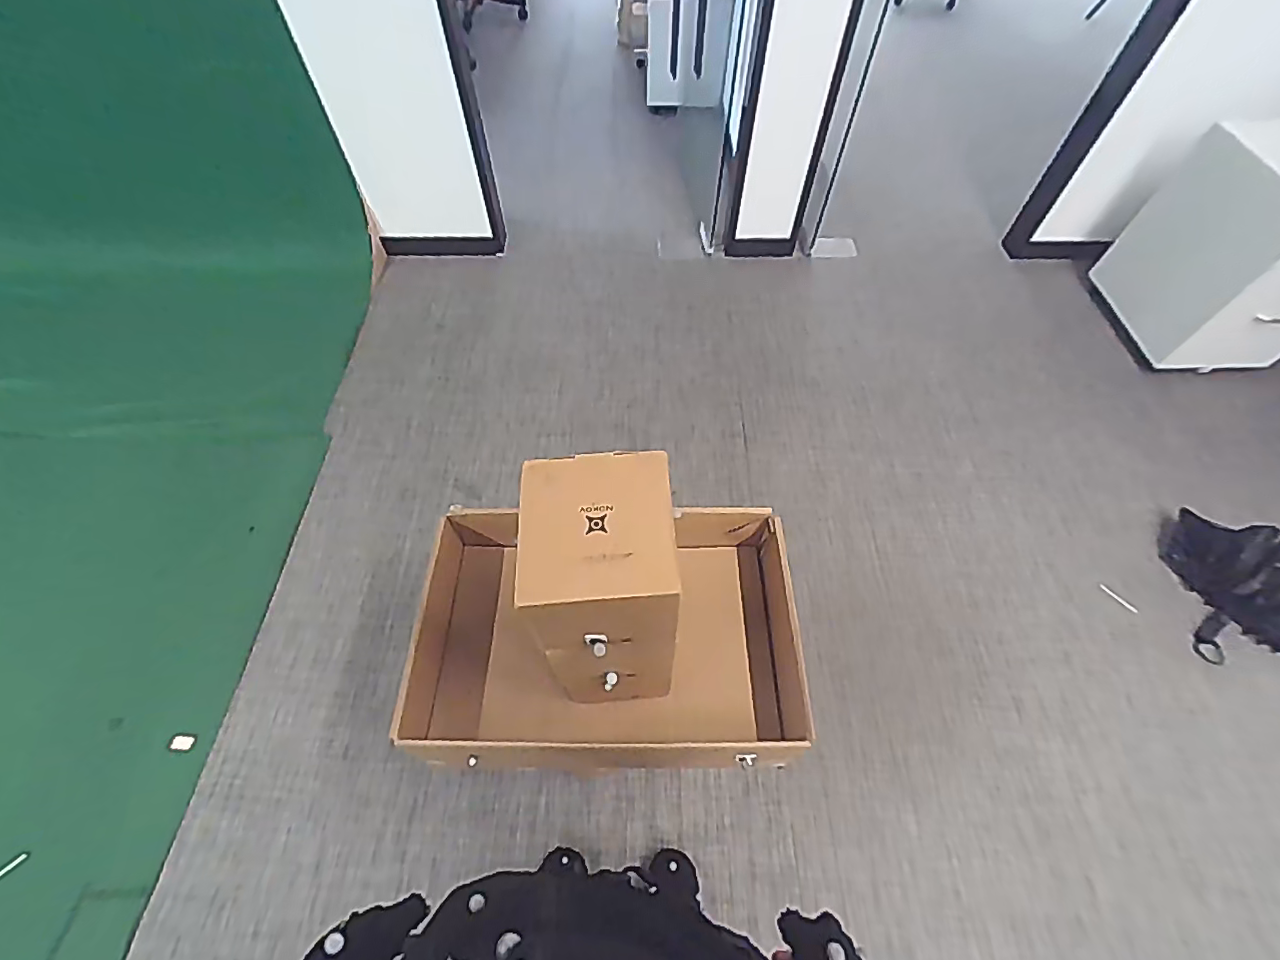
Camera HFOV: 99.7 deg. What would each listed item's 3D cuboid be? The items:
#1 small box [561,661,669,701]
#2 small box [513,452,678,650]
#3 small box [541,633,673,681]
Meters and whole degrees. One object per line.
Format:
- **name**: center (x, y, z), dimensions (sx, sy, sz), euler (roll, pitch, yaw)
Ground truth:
- **small box**: center (-0.042, 0.261, 0.919), dimensions (0.168, 0.176, 0.179), euler (-5, 56, -1)
- **small box**: center (-0.048, 0.088, 0.644), dimensions (0.168, 0.176, 0.179), euler (-5, 58, -1)
- **small box**: center (-0.046, 0.176, 0.780), dimensions (0.168, 0.176, 0.179), euler (-4, 57, -2)
